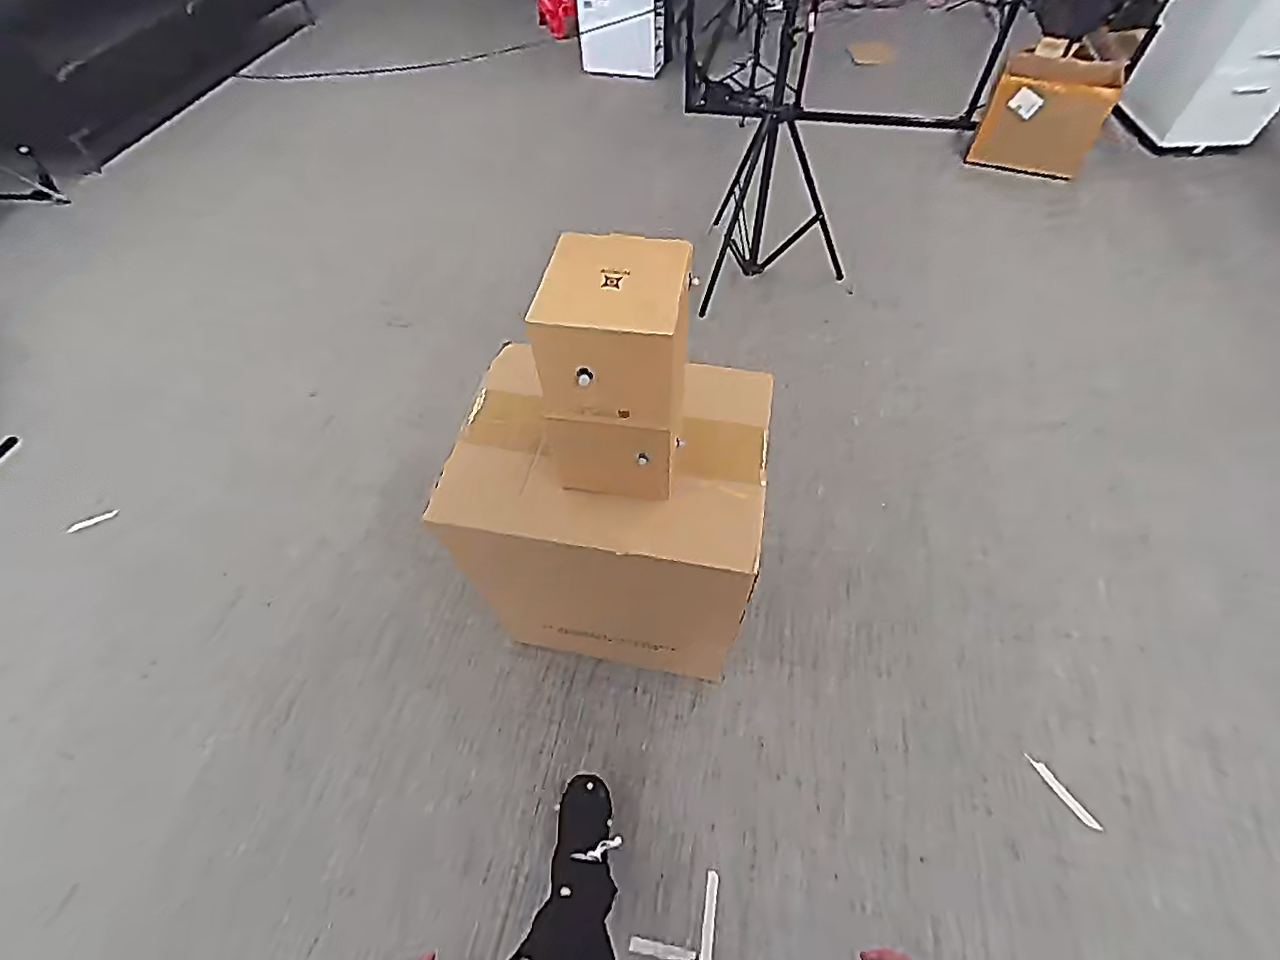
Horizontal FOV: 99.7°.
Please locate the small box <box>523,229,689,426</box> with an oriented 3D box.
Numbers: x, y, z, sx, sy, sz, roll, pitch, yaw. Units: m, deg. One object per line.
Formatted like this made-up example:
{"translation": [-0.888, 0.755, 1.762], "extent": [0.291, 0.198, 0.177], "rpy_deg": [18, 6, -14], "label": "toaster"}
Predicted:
{"translation": [-0.030, -0.188, 0.683], "extent": [0.168, 0.176, 0.179], "rpy_deg": [7, 56, 6], "label": "small box"}
